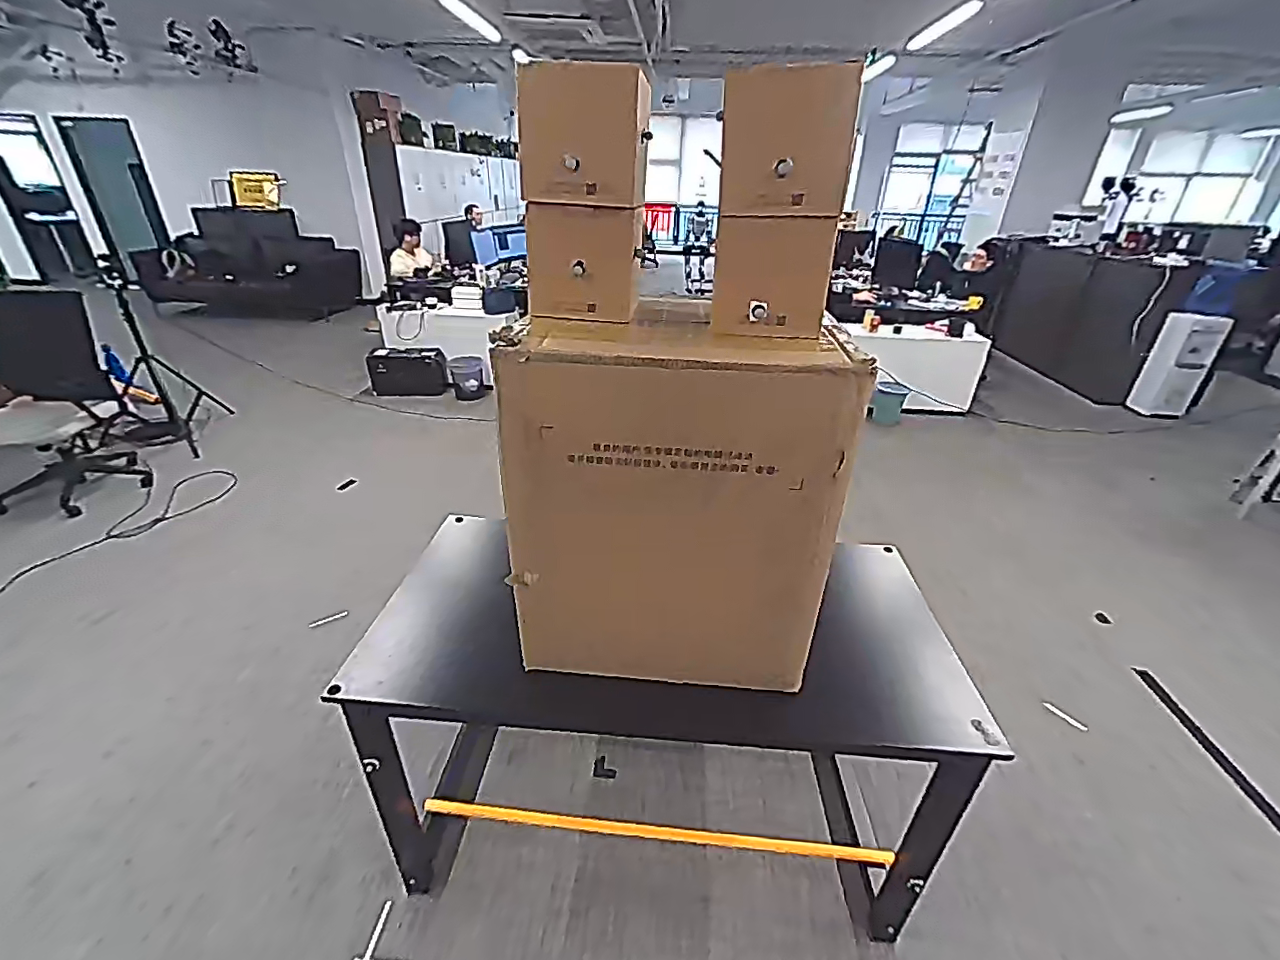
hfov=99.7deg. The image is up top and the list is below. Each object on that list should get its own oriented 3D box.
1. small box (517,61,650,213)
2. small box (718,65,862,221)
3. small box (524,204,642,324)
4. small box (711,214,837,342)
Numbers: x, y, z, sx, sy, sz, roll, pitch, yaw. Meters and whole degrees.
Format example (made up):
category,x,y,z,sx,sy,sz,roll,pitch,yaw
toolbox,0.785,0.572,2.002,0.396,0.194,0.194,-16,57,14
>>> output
category,x,y,z,sx,sy,sz,roll,pitch,yaw
small box,-0.078,-0.504,0.812,0.168,0.176,0.179,5,29,4
small box,0.199,-0.467,0.765,0.168,0.176,0.179,4,29,9
small box,-0.088,-0.367,0.906,0.168,0.176,0.179,5,29,2
small box,0.199,-0.325,0.851,0.168,0.176,0.179,3,30,7
